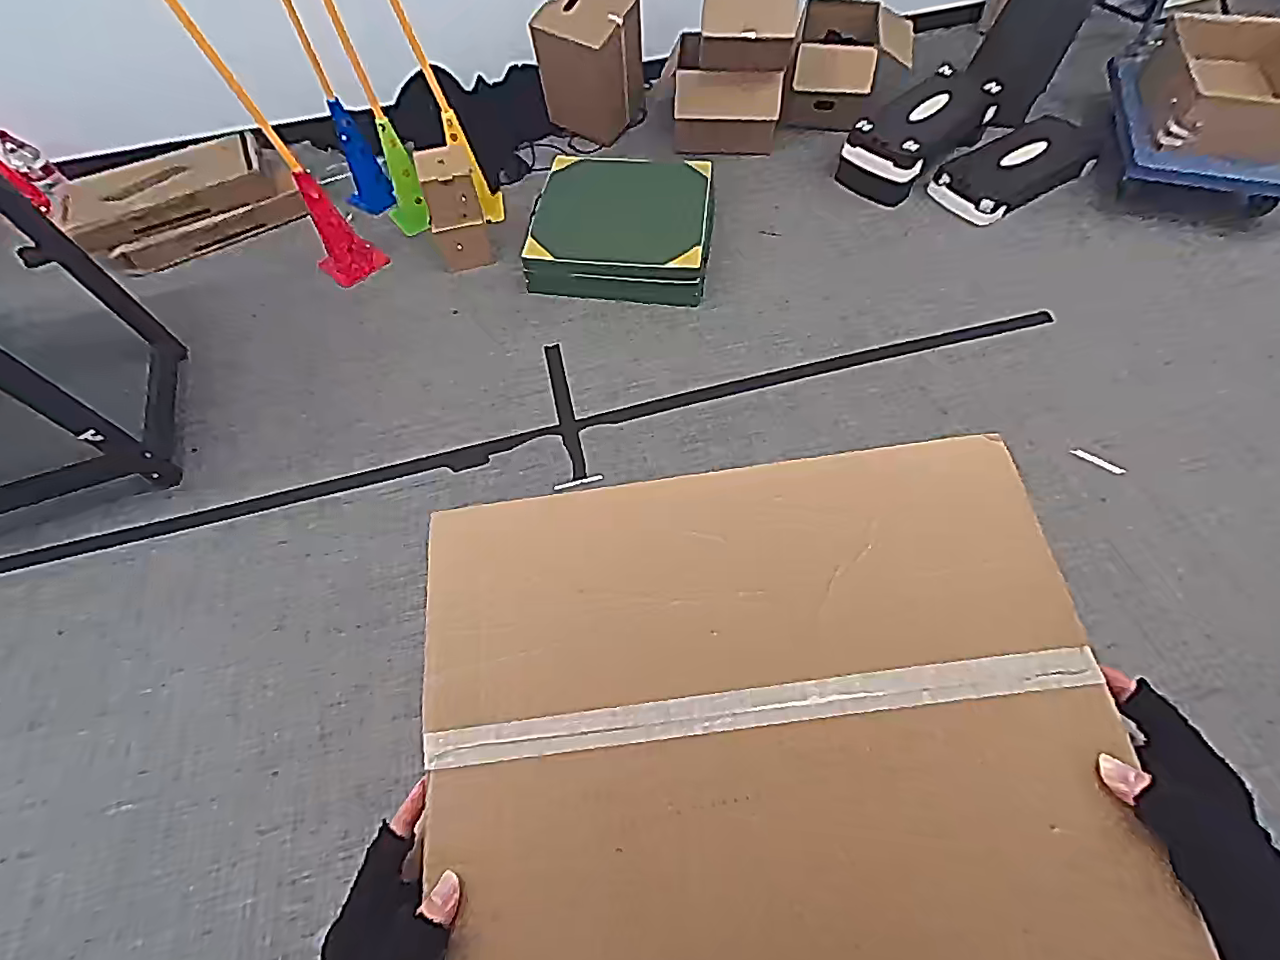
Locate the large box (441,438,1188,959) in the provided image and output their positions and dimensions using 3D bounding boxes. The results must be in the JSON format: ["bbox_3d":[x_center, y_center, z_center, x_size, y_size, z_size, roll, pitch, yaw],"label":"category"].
[{"bbox_3d":[0.081,0.195,0.477,0.408,0.320,0.320,-9,69,2],"label":"large box"}]
